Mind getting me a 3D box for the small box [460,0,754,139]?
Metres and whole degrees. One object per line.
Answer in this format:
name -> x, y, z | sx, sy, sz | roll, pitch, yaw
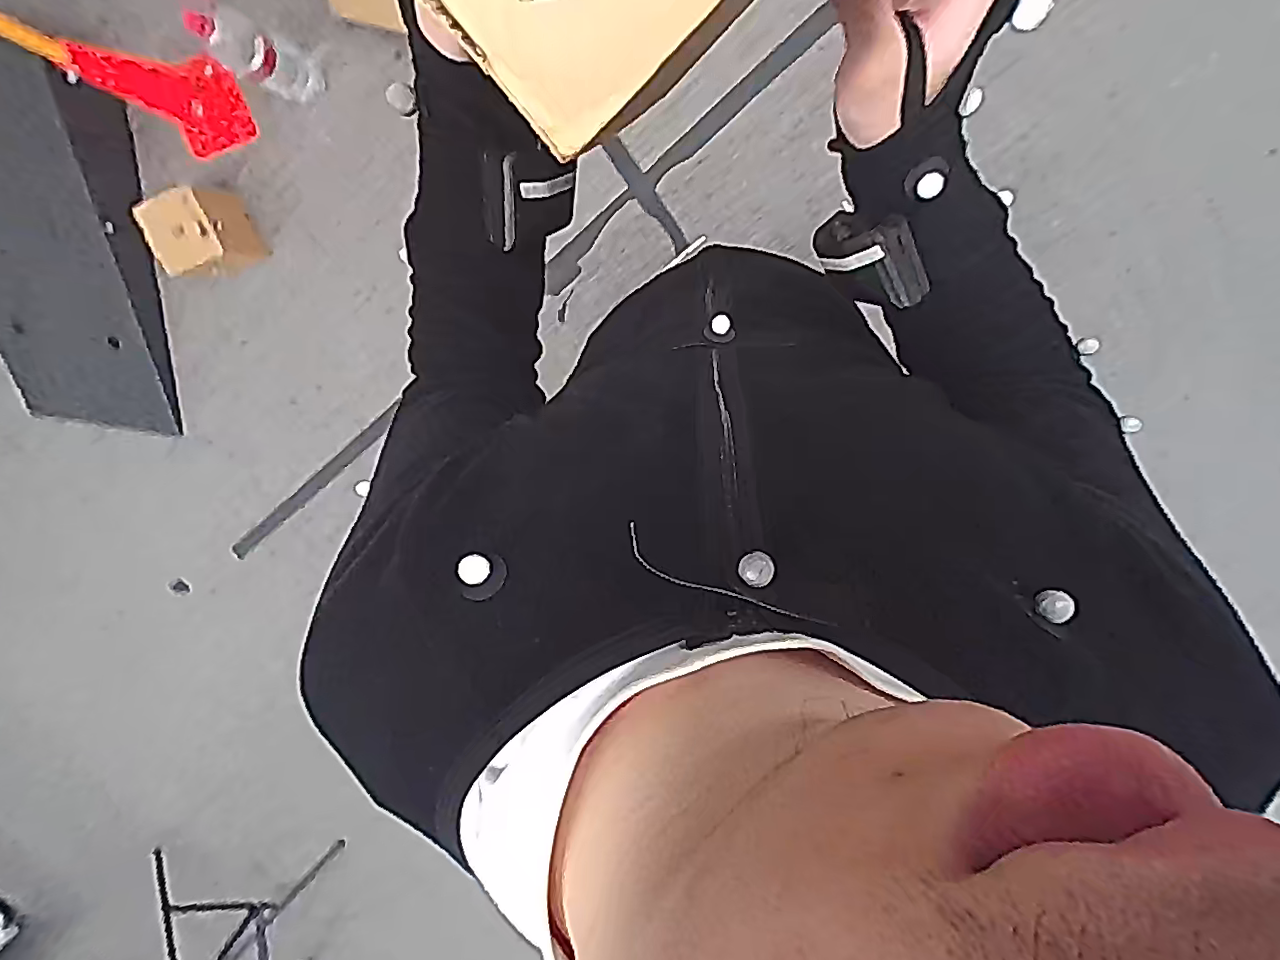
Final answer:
small box -> 0.008, -0.237, 0.142 | 0.179, 0.176, 0.168 | -29, 119, 33
